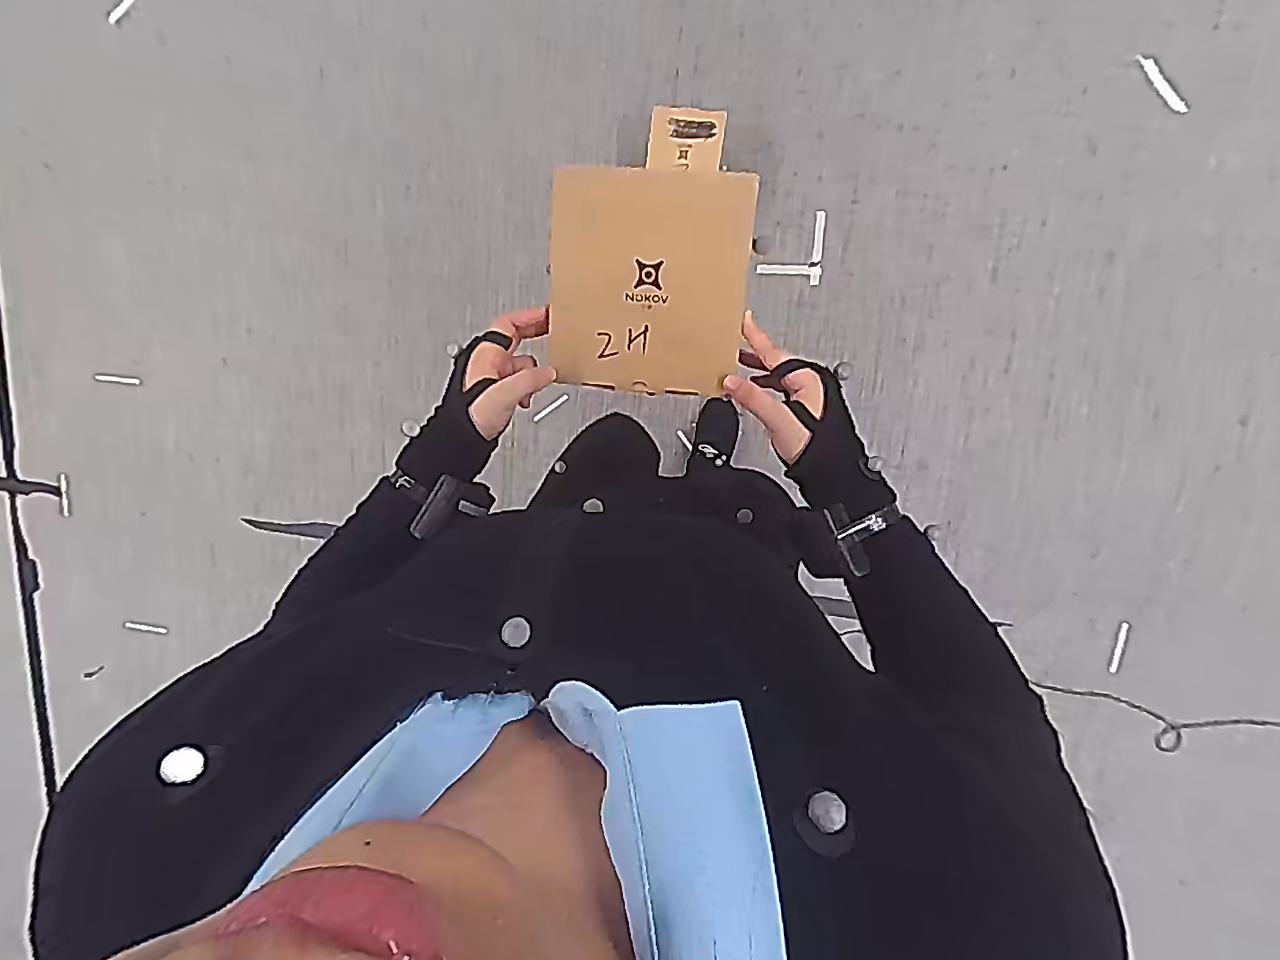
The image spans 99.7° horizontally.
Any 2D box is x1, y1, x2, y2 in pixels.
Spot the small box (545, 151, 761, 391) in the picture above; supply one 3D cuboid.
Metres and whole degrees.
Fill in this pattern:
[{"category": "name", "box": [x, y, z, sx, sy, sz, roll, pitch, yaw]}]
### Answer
[{"category": "small box", "box": [0.015, -0.188, 0.518, 0.168, 0.176, 0.179, 6, 106, 6]}]
